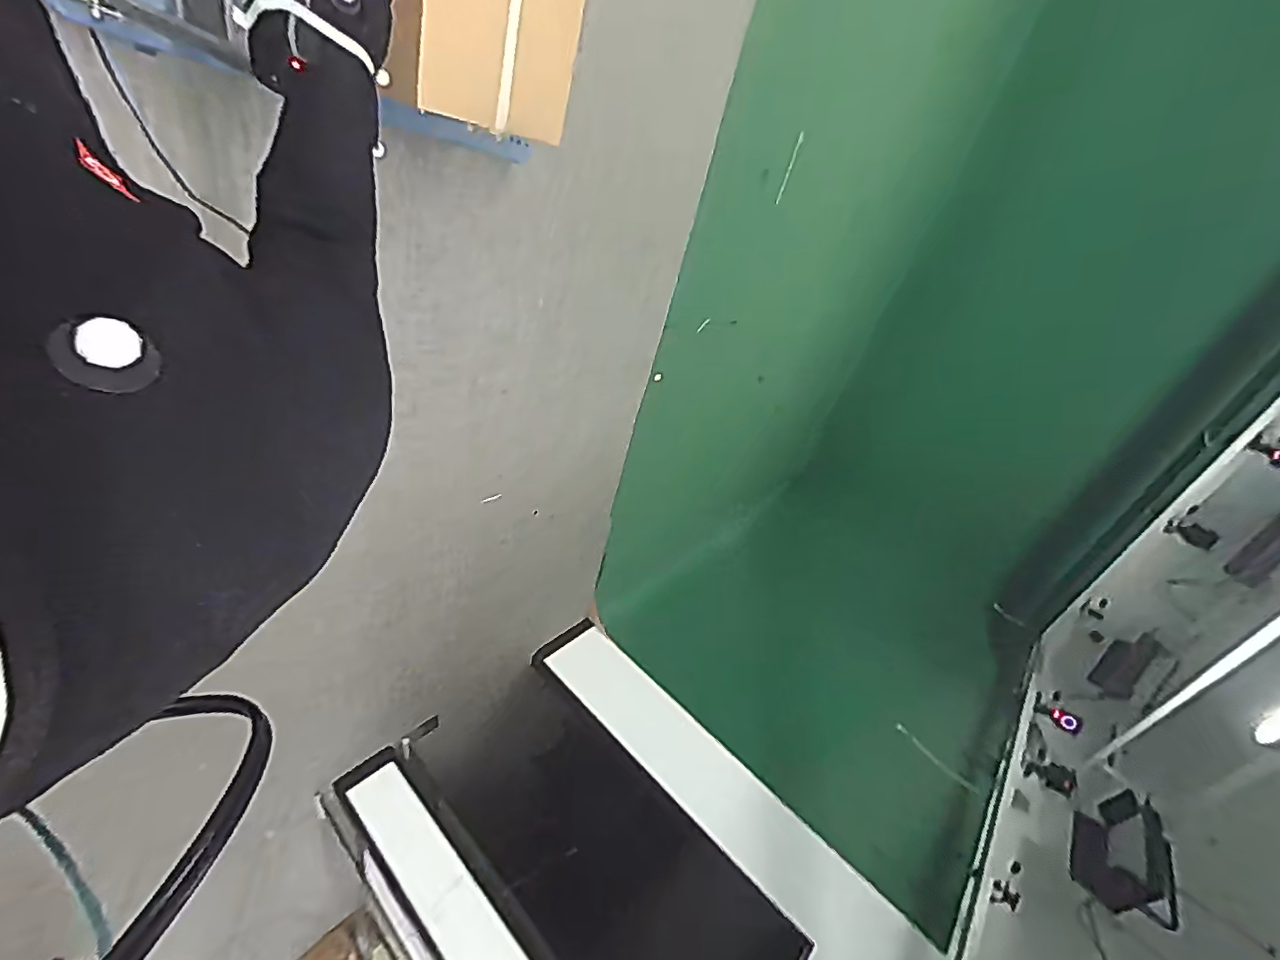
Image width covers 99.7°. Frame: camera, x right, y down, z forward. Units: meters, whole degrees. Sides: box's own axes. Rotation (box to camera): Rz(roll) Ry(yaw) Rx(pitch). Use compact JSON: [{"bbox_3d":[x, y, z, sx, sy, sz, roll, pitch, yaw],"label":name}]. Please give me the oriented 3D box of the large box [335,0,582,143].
[{"bbox_3d":[-0.319,-0.880,0.957,0.320,0.320,0.408,-22,139,-47],"label":"large box"}]
